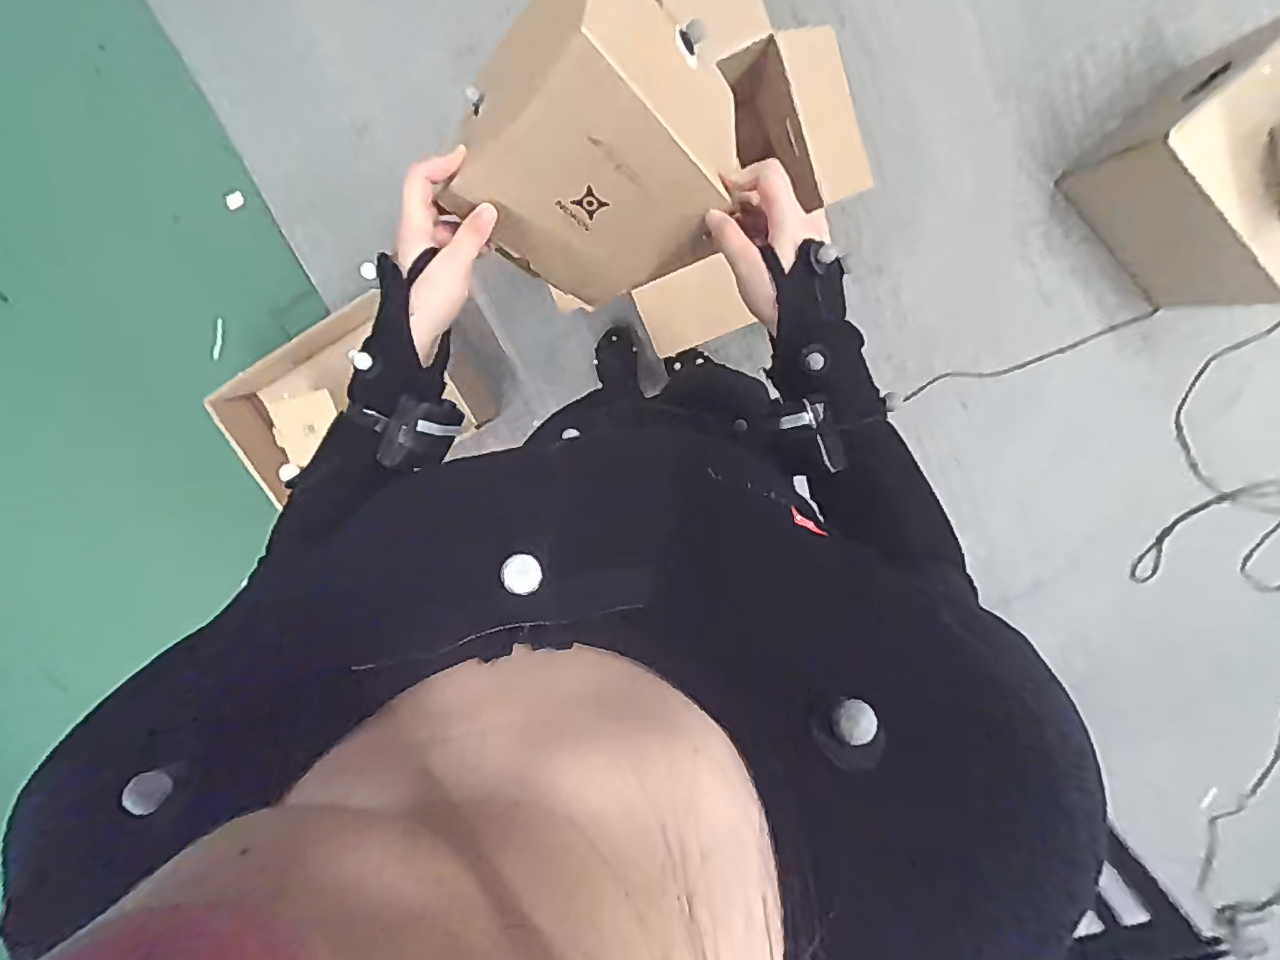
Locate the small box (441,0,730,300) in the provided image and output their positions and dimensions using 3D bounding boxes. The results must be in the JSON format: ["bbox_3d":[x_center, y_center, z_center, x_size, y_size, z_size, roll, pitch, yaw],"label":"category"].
[{"bbox_3d":[-0.041,-0.301,0.465,0.179,0.176,0.168,-23,146,38],"label":"small box"}]

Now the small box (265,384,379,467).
[{"bbox_3d":[-0.815,-0.149,1.411,0.179,0.176,0.168,-13,103,8],"label":"small box"}]
